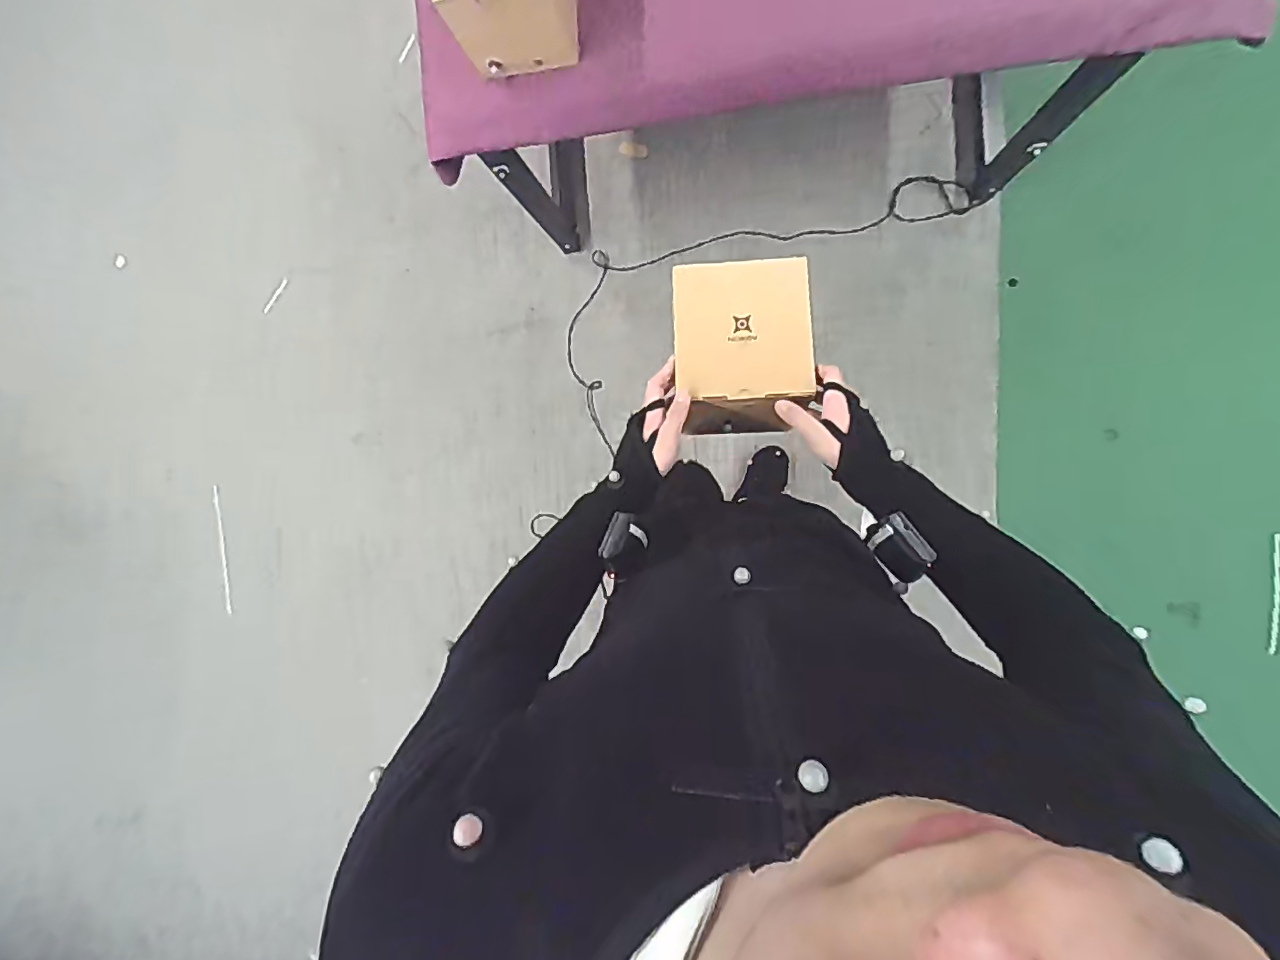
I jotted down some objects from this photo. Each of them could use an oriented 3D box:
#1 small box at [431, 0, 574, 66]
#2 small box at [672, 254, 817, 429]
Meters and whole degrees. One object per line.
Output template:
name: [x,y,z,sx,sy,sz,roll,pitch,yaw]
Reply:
small box: [-0.197,-0.747,0.789,0.168,0.176,0.179,-1,93,9]
small box: [0.127,-0.174,0.723,0.168,0.176,0.179,-2,82,3]
